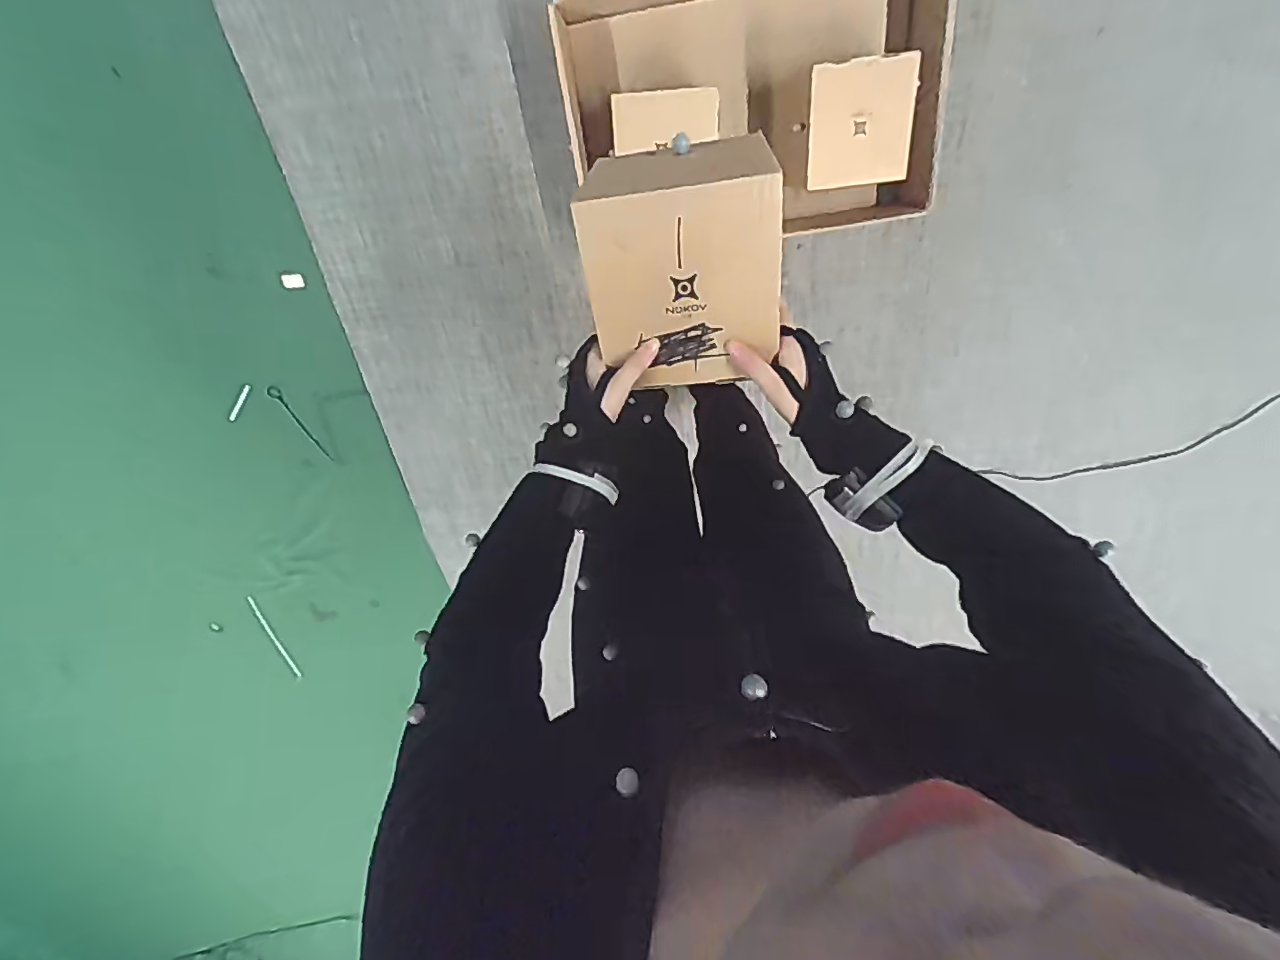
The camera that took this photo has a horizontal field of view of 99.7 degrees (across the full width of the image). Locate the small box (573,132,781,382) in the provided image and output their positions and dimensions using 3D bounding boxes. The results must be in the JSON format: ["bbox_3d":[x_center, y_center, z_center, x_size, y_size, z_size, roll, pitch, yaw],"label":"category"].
[{"bbox_3d":[0.044,-0.219,0.534,0.168,0.176,0.179,-4,130,8],"label":"small box"}]
